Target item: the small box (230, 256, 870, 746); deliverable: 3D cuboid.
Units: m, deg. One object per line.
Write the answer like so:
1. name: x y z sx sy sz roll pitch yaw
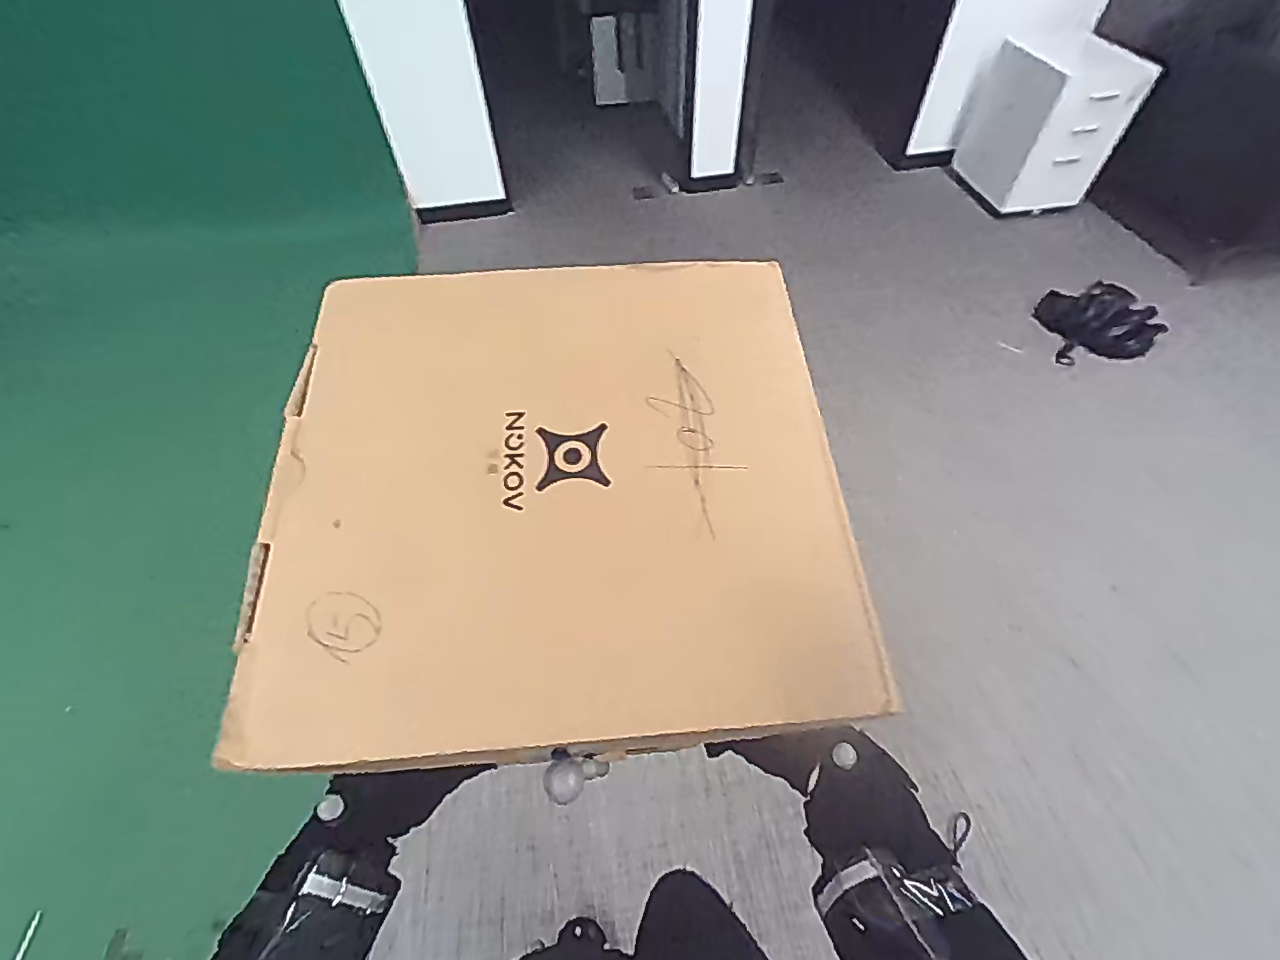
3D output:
1. small box: -0.029 0.025 0.251 0.179 0.176 0.168 -5 64 -3

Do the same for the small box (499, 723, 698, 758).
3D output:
1. small box: -0.038 0.172 0.543 0.168 0.176 0.179 -4 64 -2
